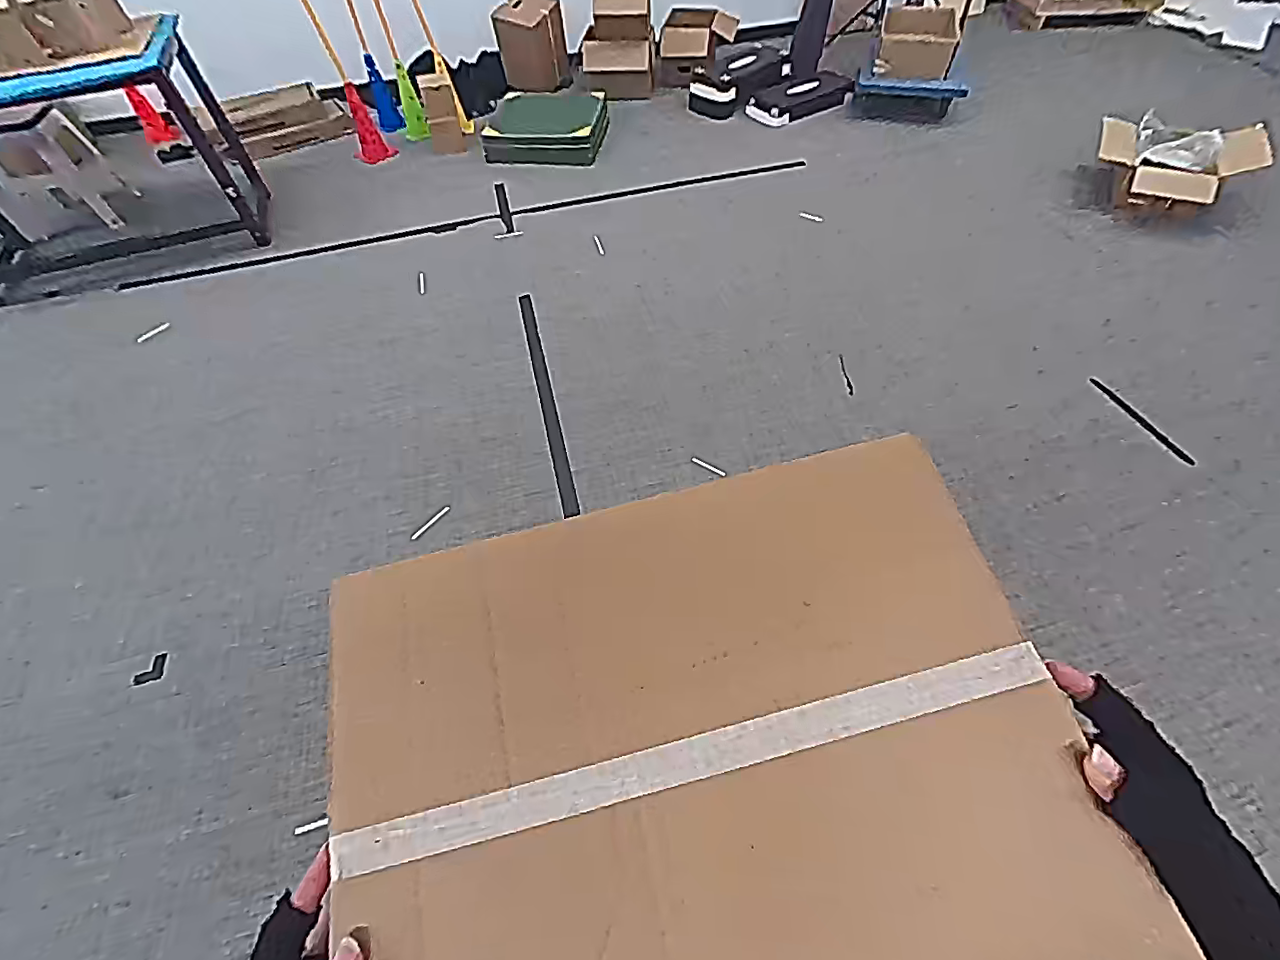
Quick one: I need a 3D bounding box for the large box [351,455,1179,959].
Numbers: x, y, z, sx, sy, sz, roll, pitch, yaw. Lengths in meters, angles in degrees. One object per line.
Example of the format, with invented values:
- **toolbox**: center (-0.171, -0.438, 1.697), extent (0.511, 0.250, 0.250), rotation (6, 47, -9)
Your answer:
- **large box**: center (0.046, 0.225, 0.442), extent (0.408, 0.320, 0.320), rotation (-14, 64, -2)
